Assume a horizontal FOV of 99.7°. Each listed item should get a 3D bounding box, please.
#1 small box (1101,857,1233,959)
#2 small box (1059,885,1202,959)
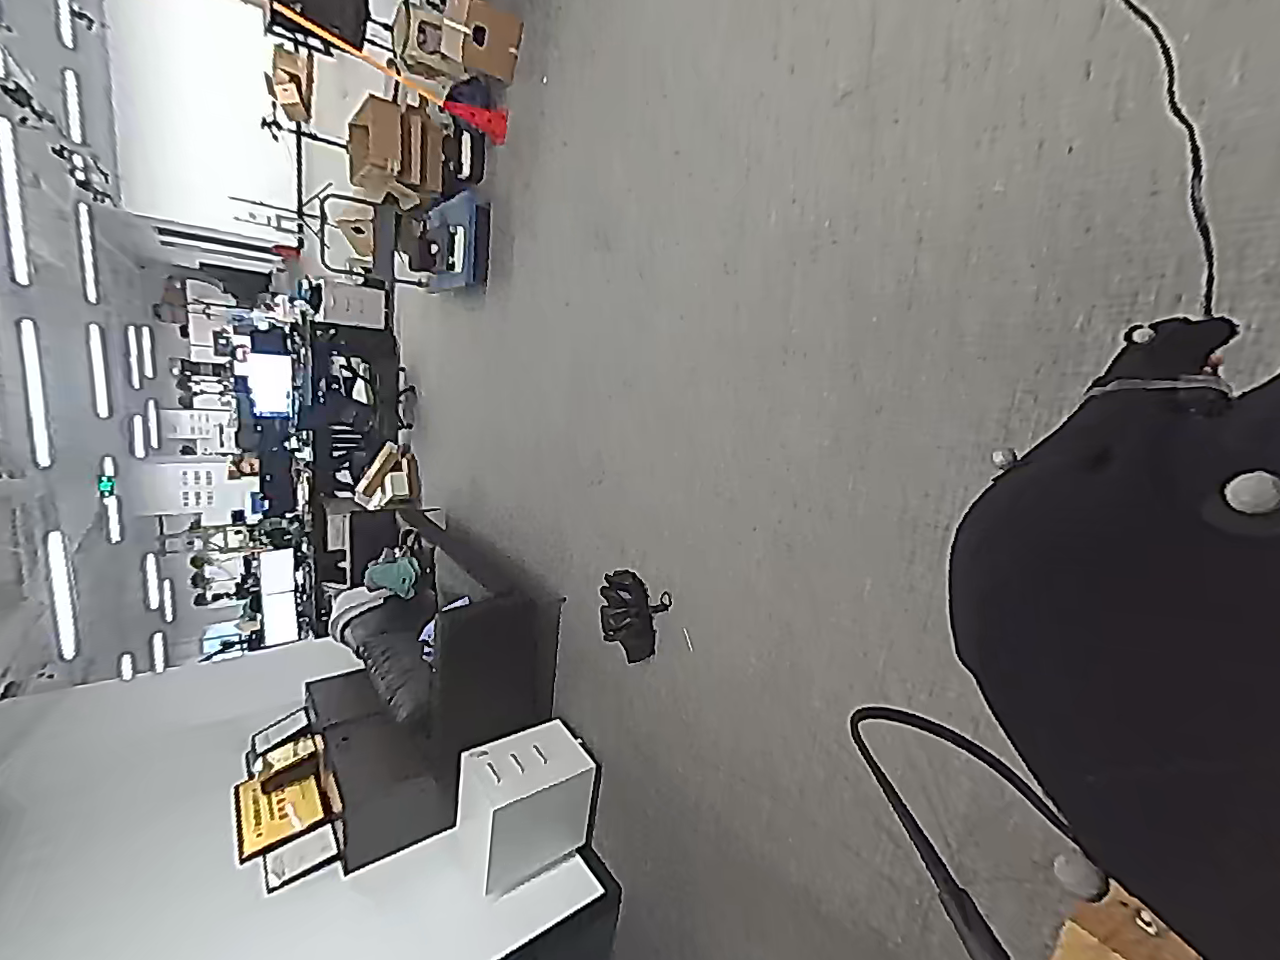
[{"bbox_3d":[1.023,0.896,1.074,0.179,0.176,0.168,22,109,48],"label":"small box"},{"bbox_3d":[0.886,0.907,0.988,0.168,0.176,0.179,20,107,48],"label":"small box"}]
